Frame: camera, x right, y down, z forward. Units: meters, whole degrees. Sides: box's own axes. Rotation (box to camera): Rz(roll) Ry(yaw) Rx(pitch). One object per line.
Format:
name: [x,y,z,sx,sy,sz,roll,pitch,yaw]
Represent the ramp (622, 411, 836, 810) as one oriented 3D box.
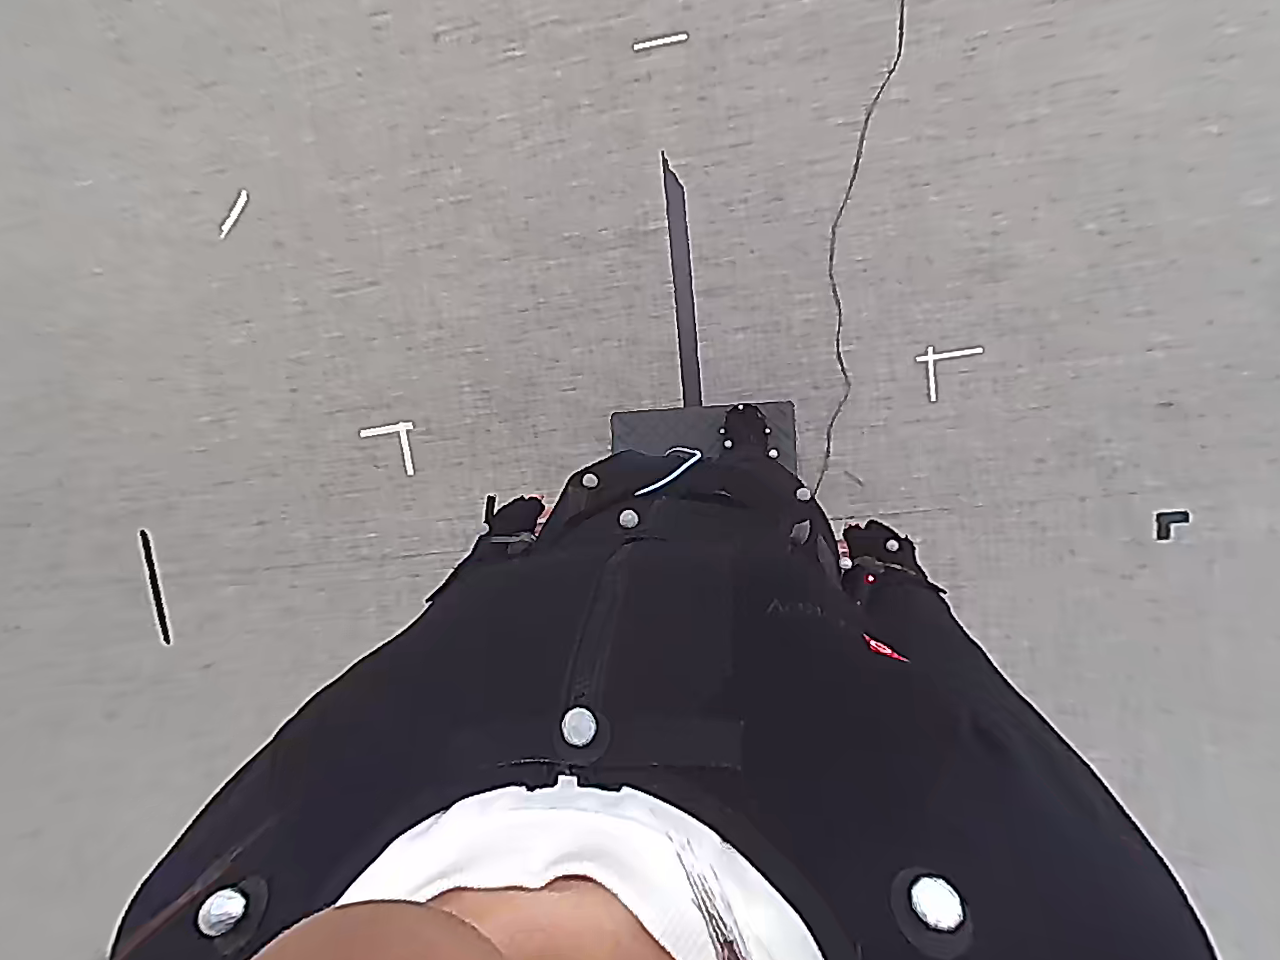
ramp: [0.212,0.328,1.418,0.509,0.206,0.991,-6,93,11]
